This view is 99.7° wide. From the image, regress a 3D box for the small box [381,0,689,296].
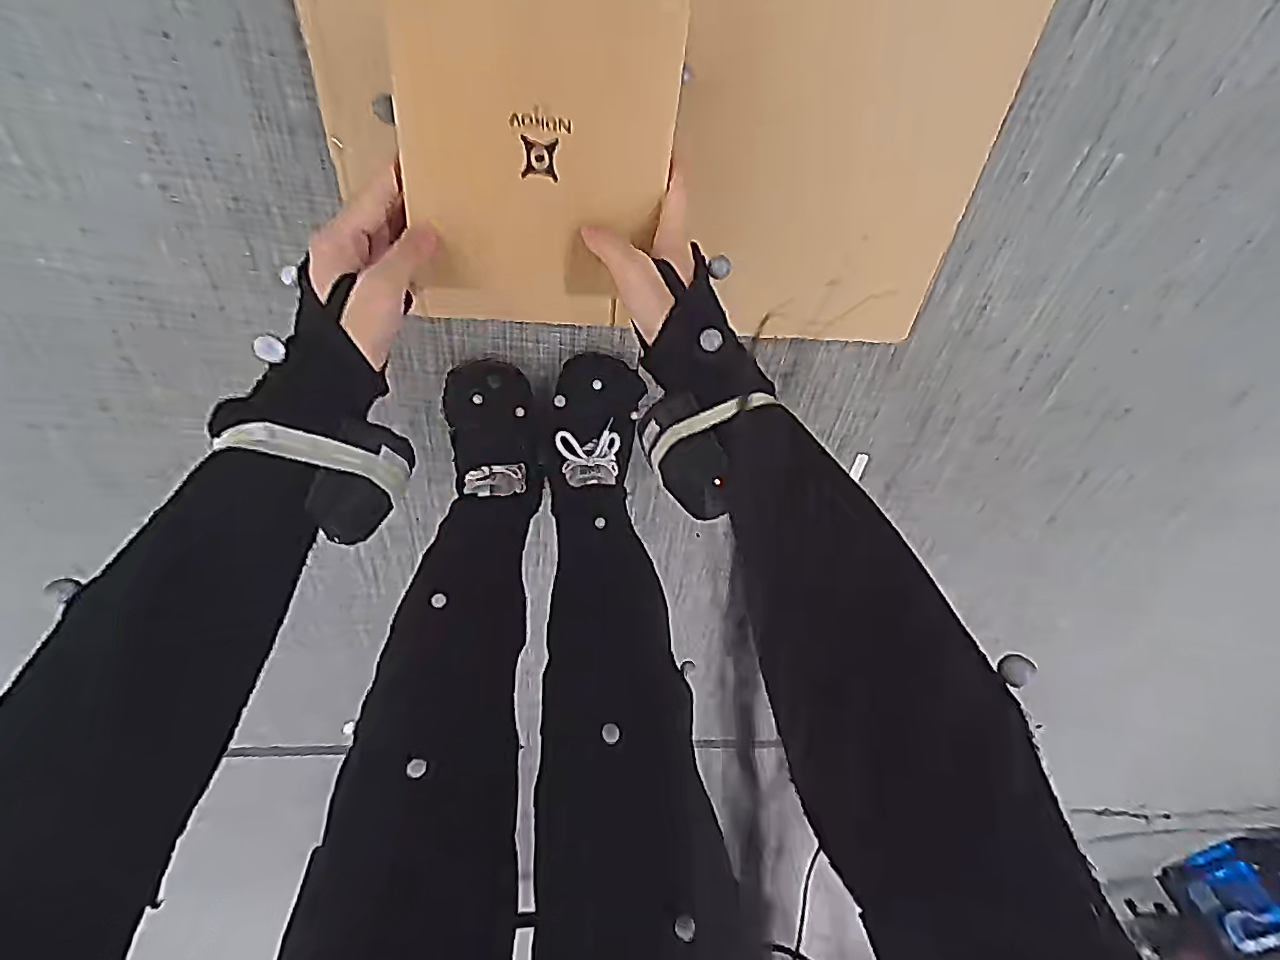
[{"bbox_3d":[-0.077,-0.250,0.392,0.168,0.176,0.179,-1,125,-13],"label":"small box"}]
